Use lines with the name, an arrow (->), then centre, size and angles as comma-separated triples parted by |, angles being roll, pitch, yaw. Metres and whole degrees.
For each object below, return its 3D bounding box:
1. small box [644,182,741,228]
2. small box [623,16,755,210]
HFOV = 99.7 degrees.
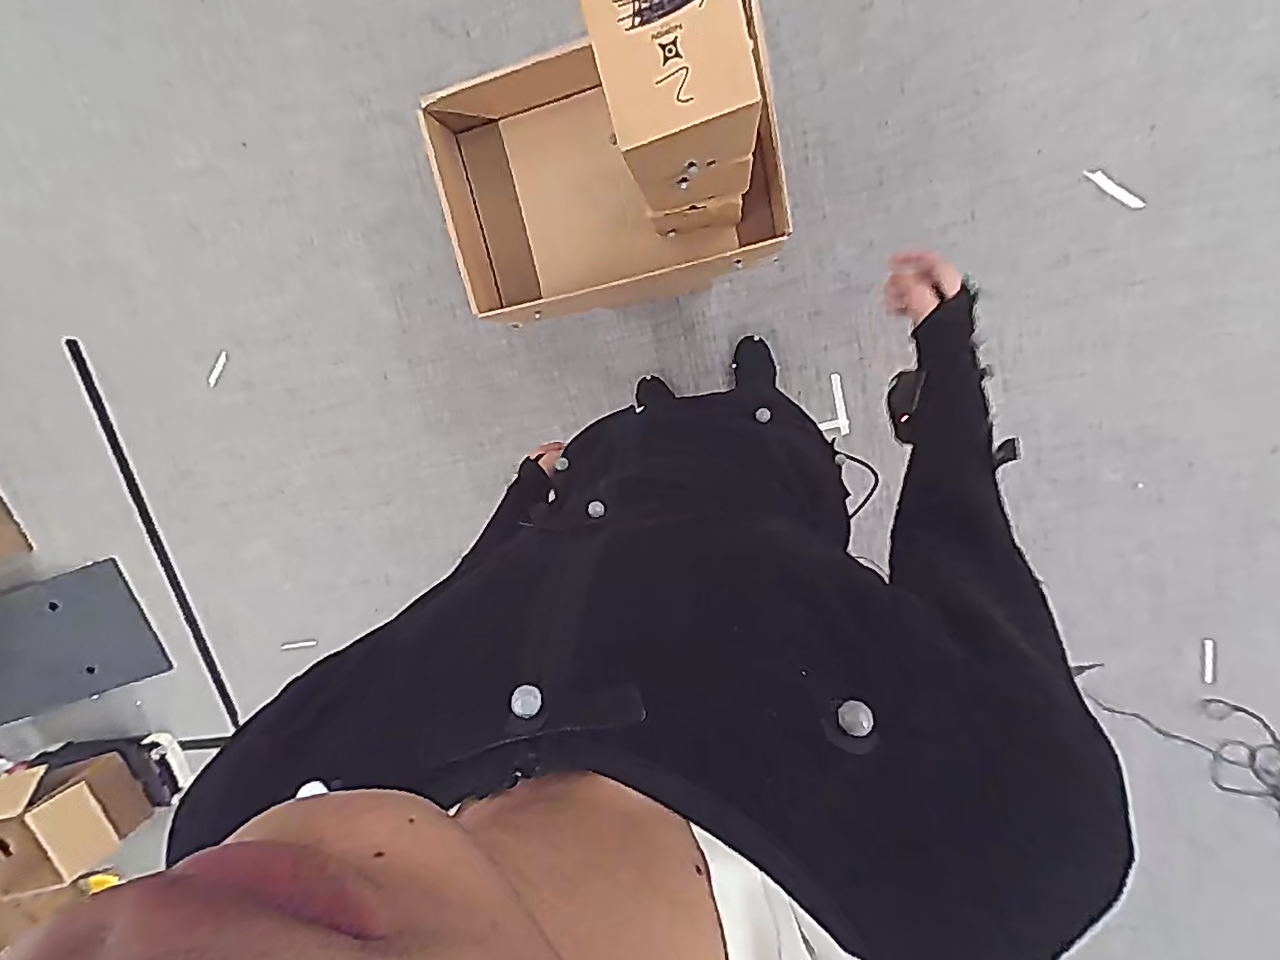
small box -> 0.096, -0.567, 0.978 | 0.168, 0.176, 0.179 | -4, 103, 9
small box -> 0.078, -0.537, 0.818 | 0.168, 0.176, 0.179 | -7, 102, 11
